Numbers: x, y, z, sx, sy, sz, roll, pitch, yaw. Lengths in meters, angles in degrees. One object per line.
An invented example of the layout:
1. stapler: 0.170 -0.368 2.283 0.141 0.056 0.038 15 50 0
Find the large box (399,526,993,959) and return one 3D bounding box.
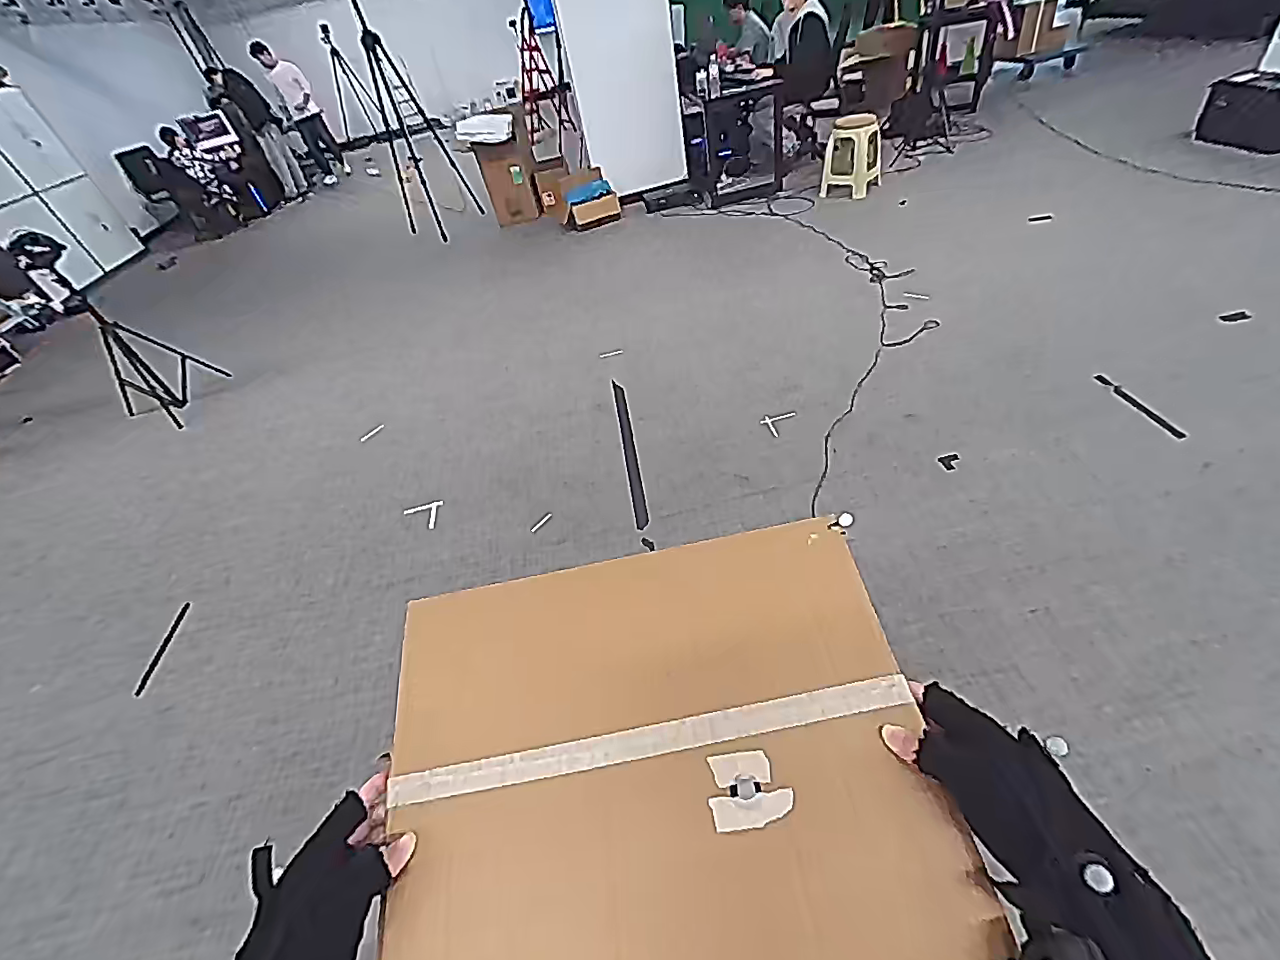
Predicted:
1. large box: 0.028 0.291 0.551 0.408 0.320 0.320 -12 56 1
